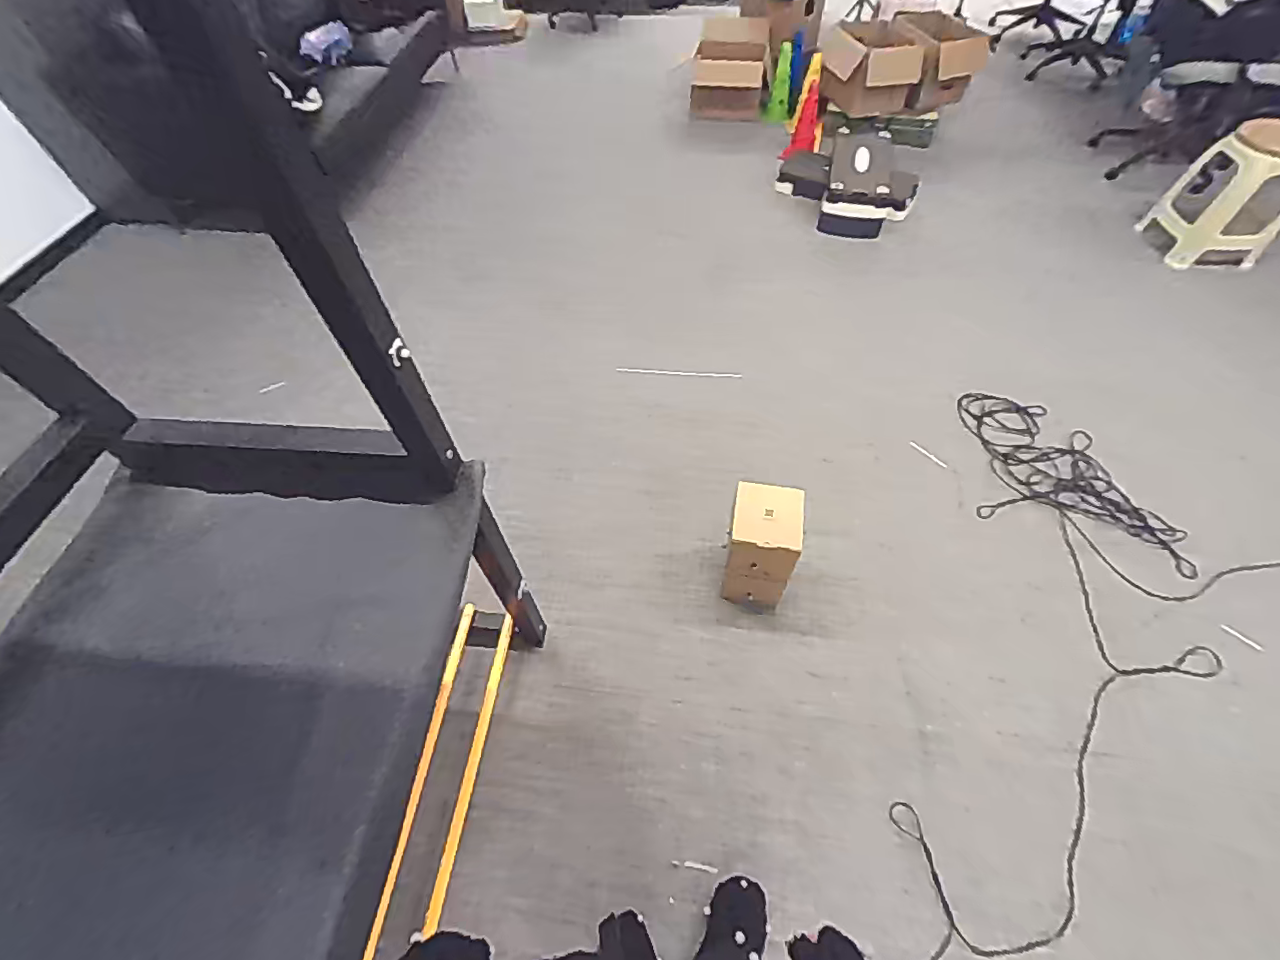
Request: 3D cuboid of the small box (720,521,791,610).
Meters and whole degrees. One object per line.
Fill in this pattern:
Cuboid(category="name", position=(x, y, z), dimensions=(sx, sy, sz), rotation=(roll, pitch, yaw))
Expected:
Cuboid(category="small box", position=(0.318, 0.240, 1.510), dimensions=(0.168, 0.176, 0.179), rotation=(9, 56, 9))
